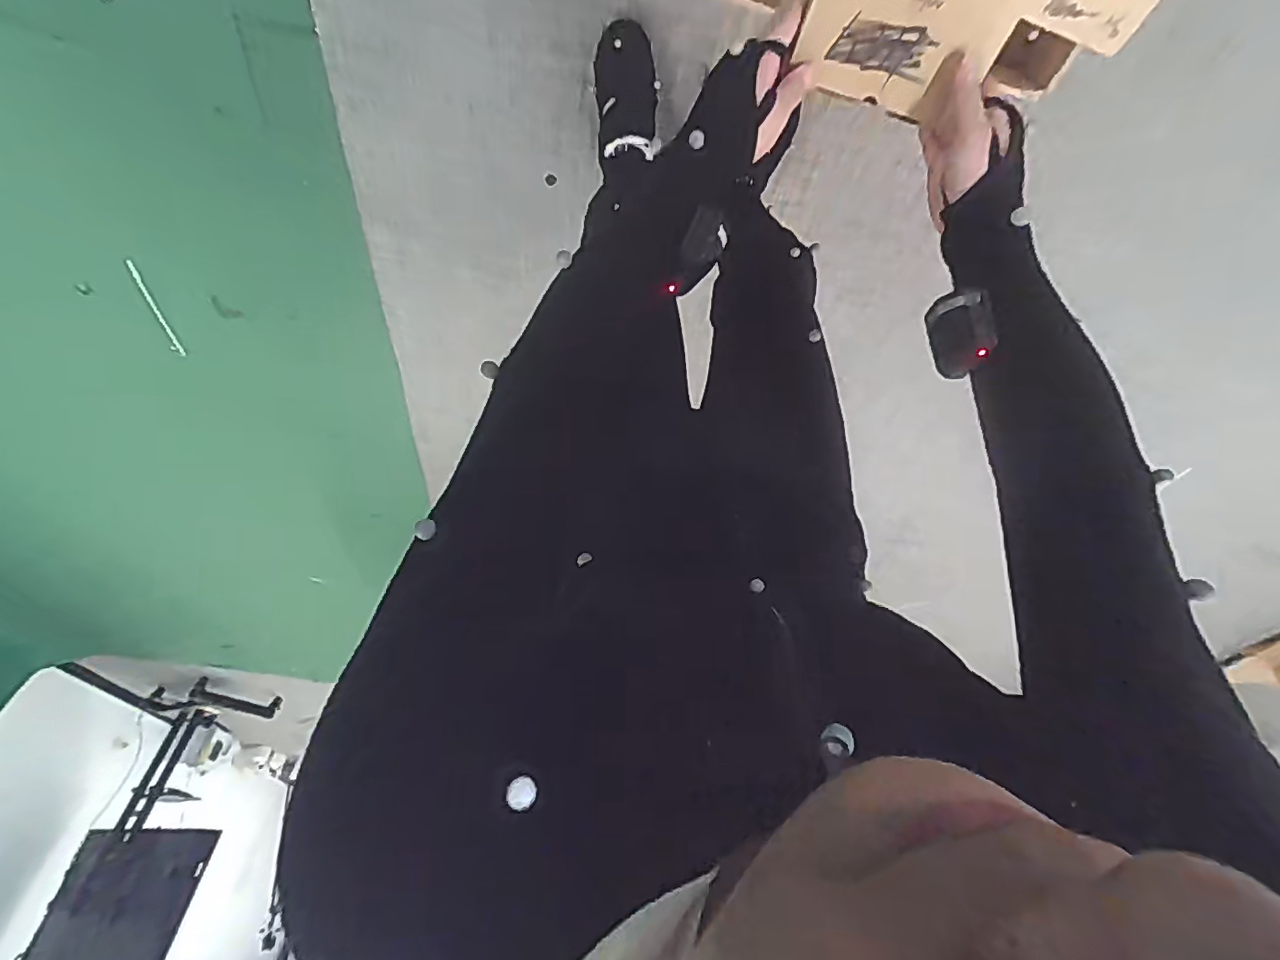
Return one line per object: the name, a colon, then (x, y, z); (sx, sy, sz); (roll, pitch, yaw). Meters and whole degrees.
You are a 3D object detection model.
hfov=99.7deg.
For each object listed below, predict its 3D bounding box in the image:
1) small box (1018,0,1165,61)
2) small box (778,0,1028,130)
small box: (0.535, -0.645, 0.638); (0.168, 0.176, 0.179); (13, 139, -9)
small box: (0.230, -0.447, 0.468); (0.168, 0.176, 0.179); (13, 138, -7)
